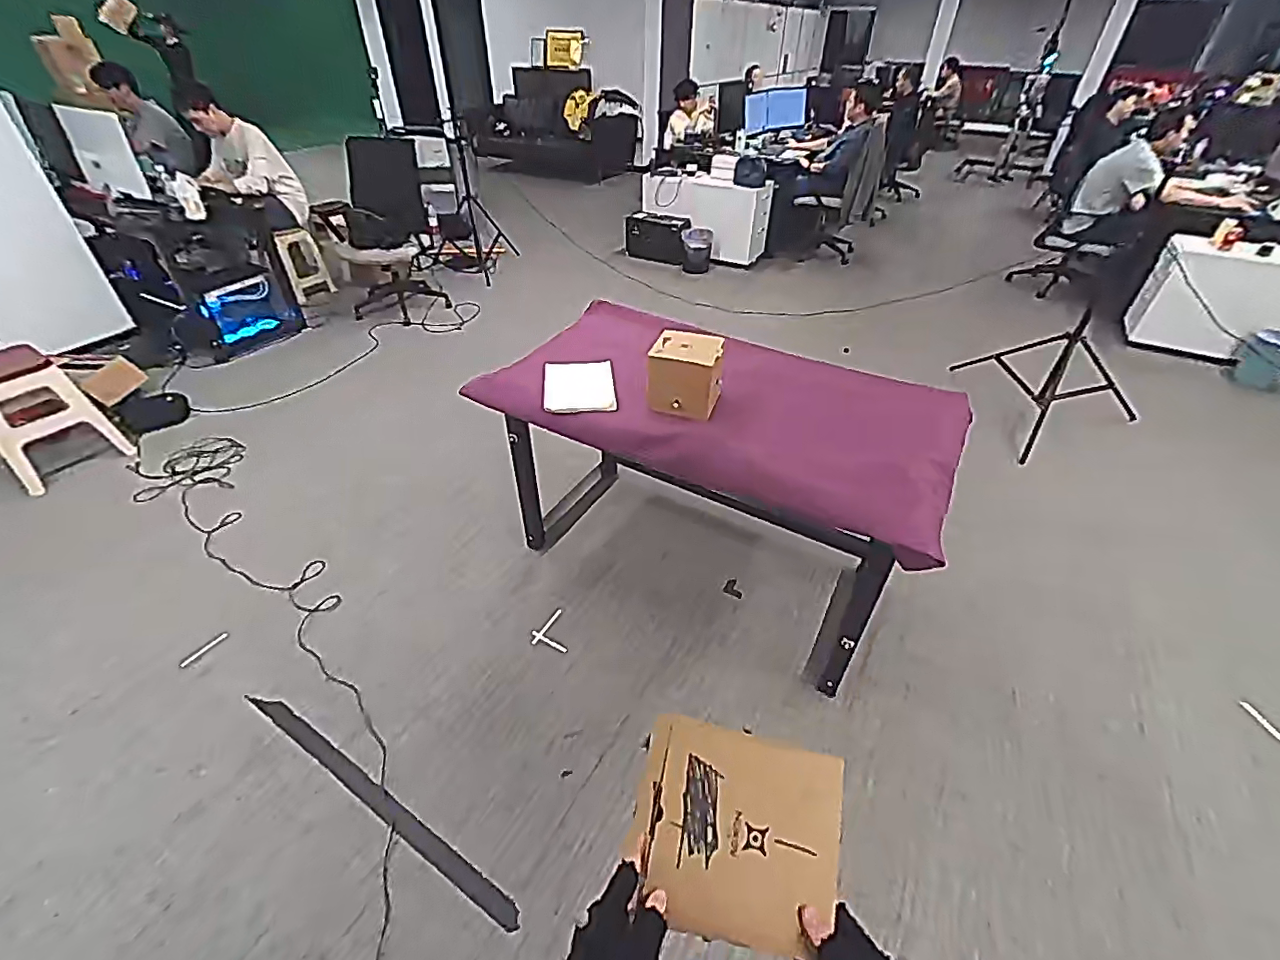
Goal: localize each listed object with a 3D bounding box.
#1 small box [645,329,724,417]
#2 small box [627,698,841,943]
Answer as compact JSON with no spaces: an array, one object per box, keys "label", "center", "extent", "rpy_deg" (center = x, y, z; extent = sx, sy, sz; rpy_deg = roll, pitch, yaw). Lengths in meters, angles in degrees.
[{"label":"small box","center":[0.120,-0.289,1.477],"extent":[0.179,0.176,0.168],"rpy_deg":[13,41,14]},{"label":"small box","center":[0.089,0.339,0.569],"extent":[0.179,0.176,0.168],"rpy_deg":[13,66,0]}]
